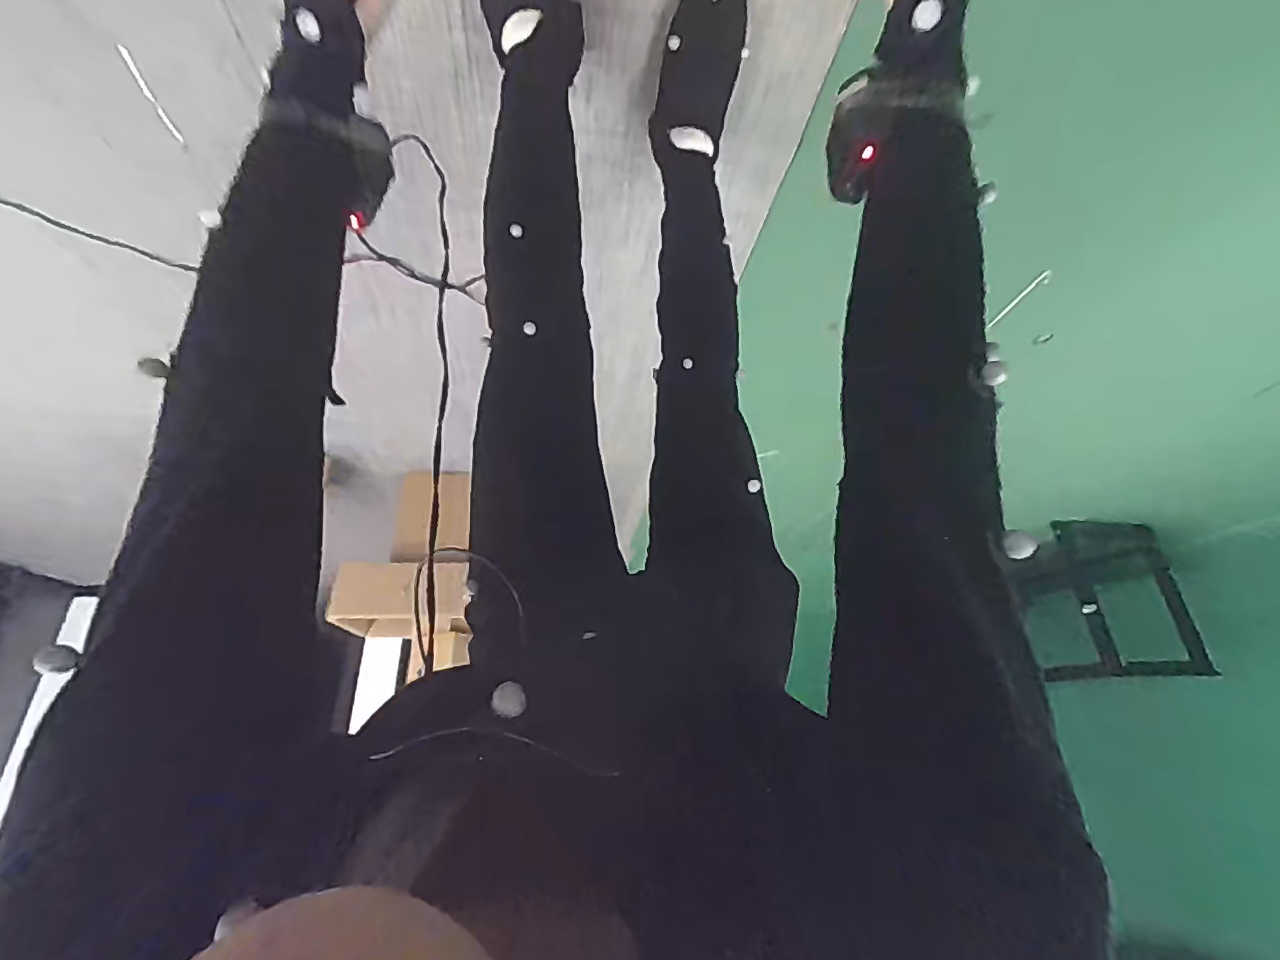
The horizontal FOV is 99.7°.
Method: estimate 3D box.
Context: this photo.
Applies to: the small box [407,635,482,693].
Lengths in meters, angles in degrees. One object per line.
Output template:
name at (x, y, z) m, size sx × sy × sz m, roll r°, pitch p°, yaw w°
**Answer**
small box at (-0.660, 0.630, 1.846) m, size 0.179 × 0.176 × 0.168 m, roll -11°, pitch 154°, yaw 18°
